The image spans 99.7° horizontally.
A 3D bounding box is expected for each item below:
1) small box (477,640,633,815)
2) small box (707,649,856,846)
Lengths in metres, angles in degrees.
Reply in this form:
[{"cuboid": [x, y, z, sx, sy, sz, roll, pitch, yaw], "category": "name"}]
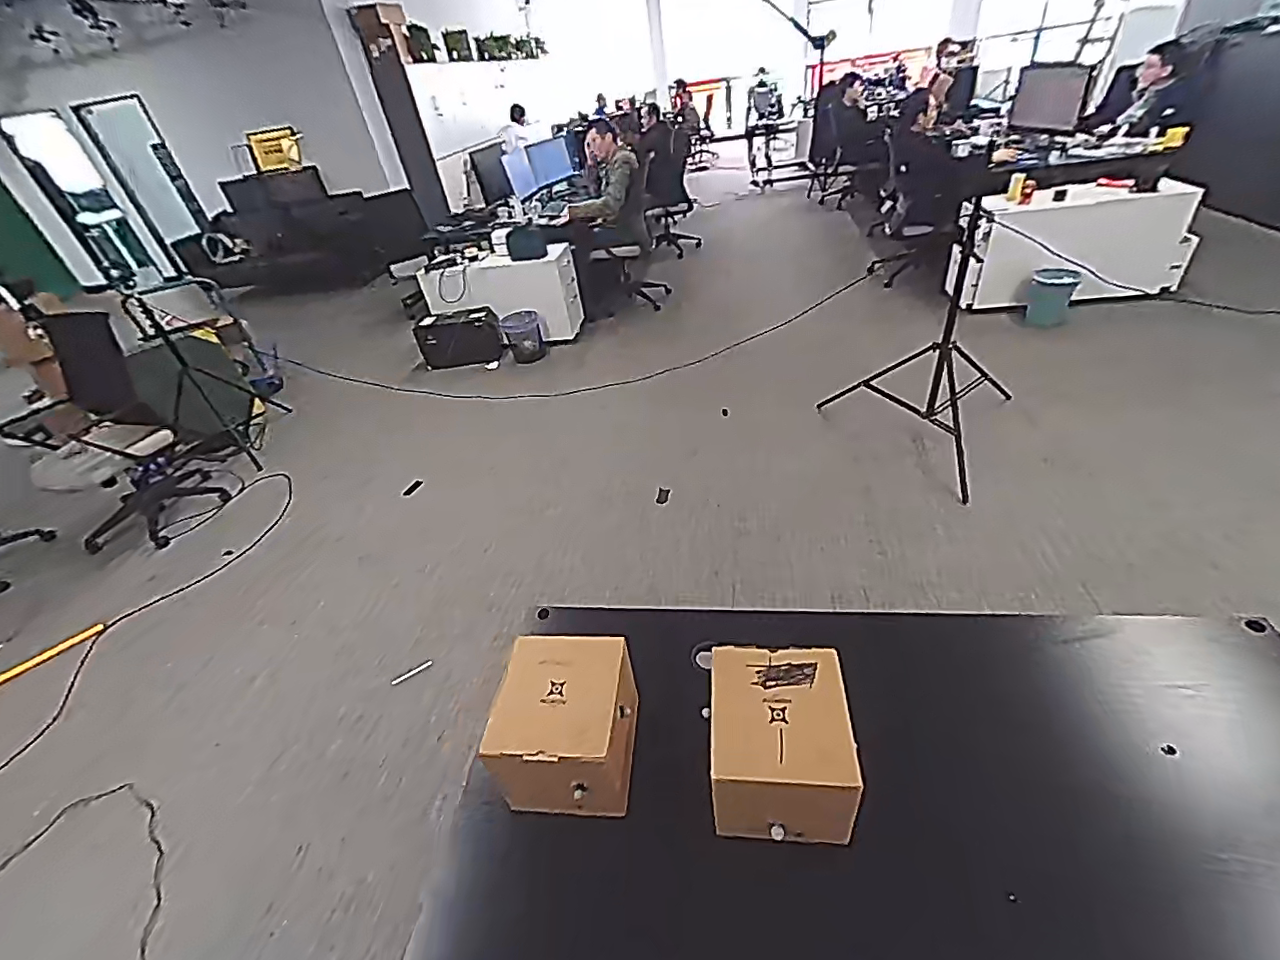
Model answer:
[{"cuboid": [-0.106, 0.352, 0.773, 0.168, 0.176, 0.179, -2, 37, 8], "category": "small box"}, {"cuboid": [0.175, 0.348, 0.715, 0.168, 0.176, 0.179, -2, 38, 10], "category": "small box"}]
